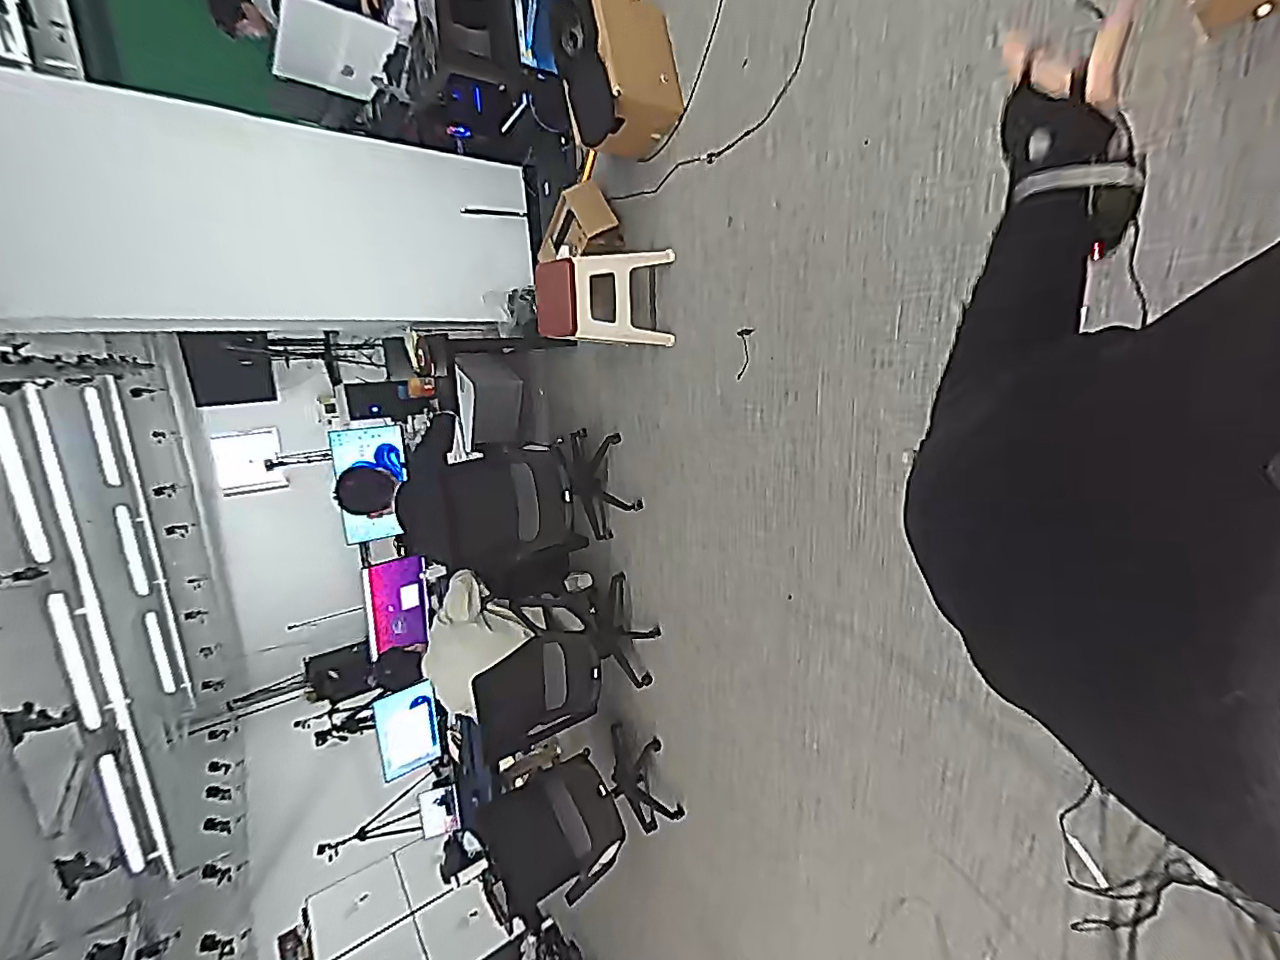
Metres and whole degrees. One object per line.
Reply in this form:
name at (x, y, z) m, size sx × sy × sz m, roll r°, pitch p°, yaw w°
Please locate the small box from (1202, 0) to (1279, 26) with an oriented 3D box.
small box at (1.022, -0.882, 0.860) m, size 0.168 × 0.176 × 0.179 m, roll 11°, pitch 109°, yaw 53°
